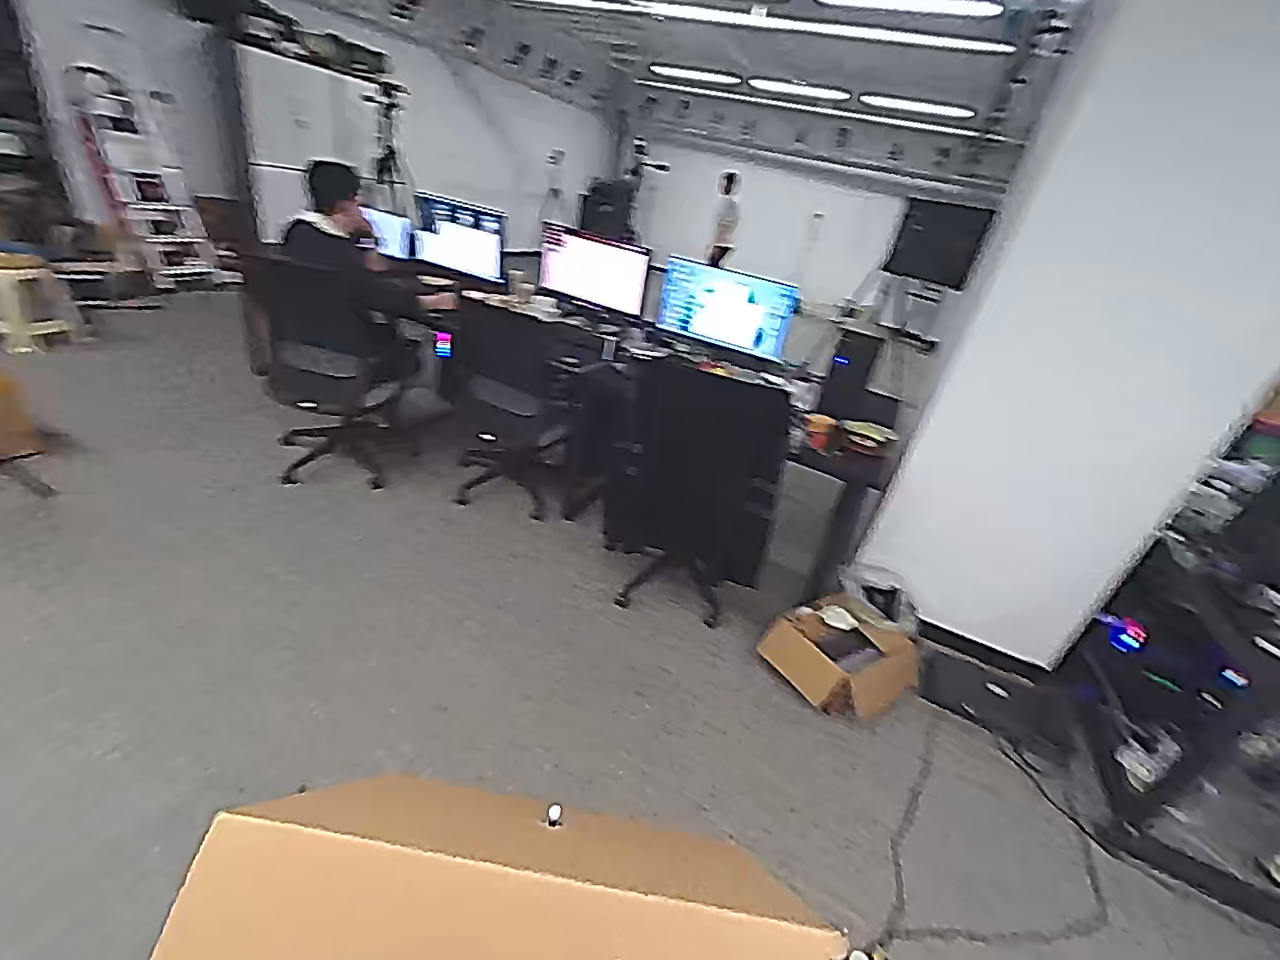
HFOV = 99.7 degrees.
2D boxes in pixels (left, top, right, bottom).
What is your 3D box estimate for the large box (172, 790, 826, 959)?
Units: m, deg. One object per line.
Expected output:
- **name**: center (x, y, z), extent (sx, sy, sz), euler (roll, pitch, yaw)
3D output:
- **large box**: center (-0.109, 0.455, 0.423), extent (0.408, 0.320, 0.320), euler (10, 66, -1)
